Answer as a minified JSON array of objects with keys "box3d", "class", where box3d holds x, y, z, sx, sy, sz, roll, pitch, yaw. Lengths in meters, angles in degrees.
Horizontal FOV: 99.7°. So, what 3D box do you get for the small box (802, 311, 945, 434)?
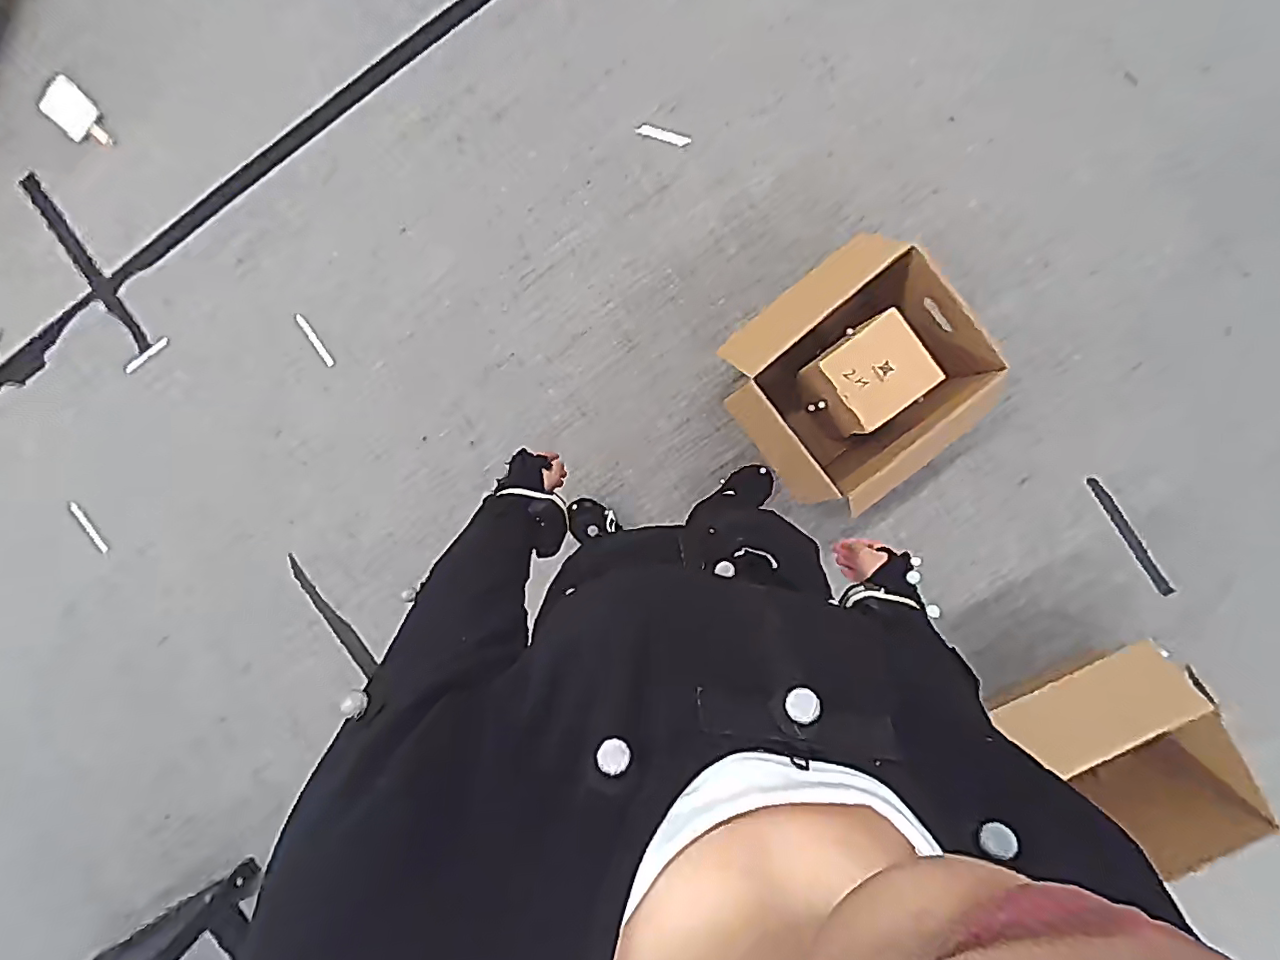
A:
[{"box3d":[0.458,-0.208,1.091,0.179,0.176,0.168,-37,92,5],"class":"small box"}]
